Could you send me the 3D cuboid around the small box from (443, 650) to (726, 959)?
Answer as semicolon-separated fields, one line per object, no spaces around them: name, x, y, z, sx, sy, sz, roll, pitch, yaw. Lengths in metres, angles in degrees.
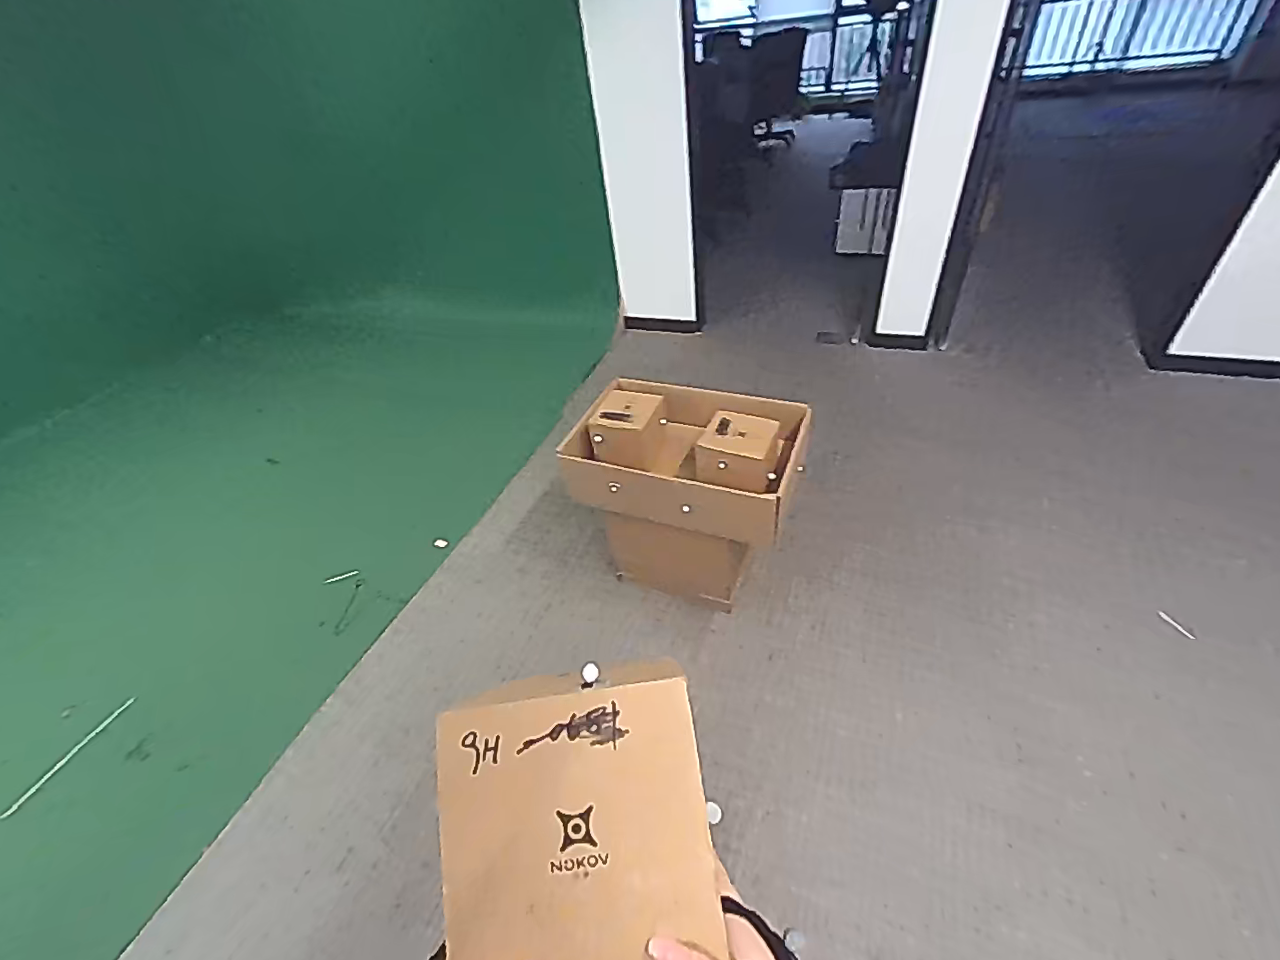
small box;-0.036;0.236;0.413;0.168;0.176;0.179;-8;76;-1
